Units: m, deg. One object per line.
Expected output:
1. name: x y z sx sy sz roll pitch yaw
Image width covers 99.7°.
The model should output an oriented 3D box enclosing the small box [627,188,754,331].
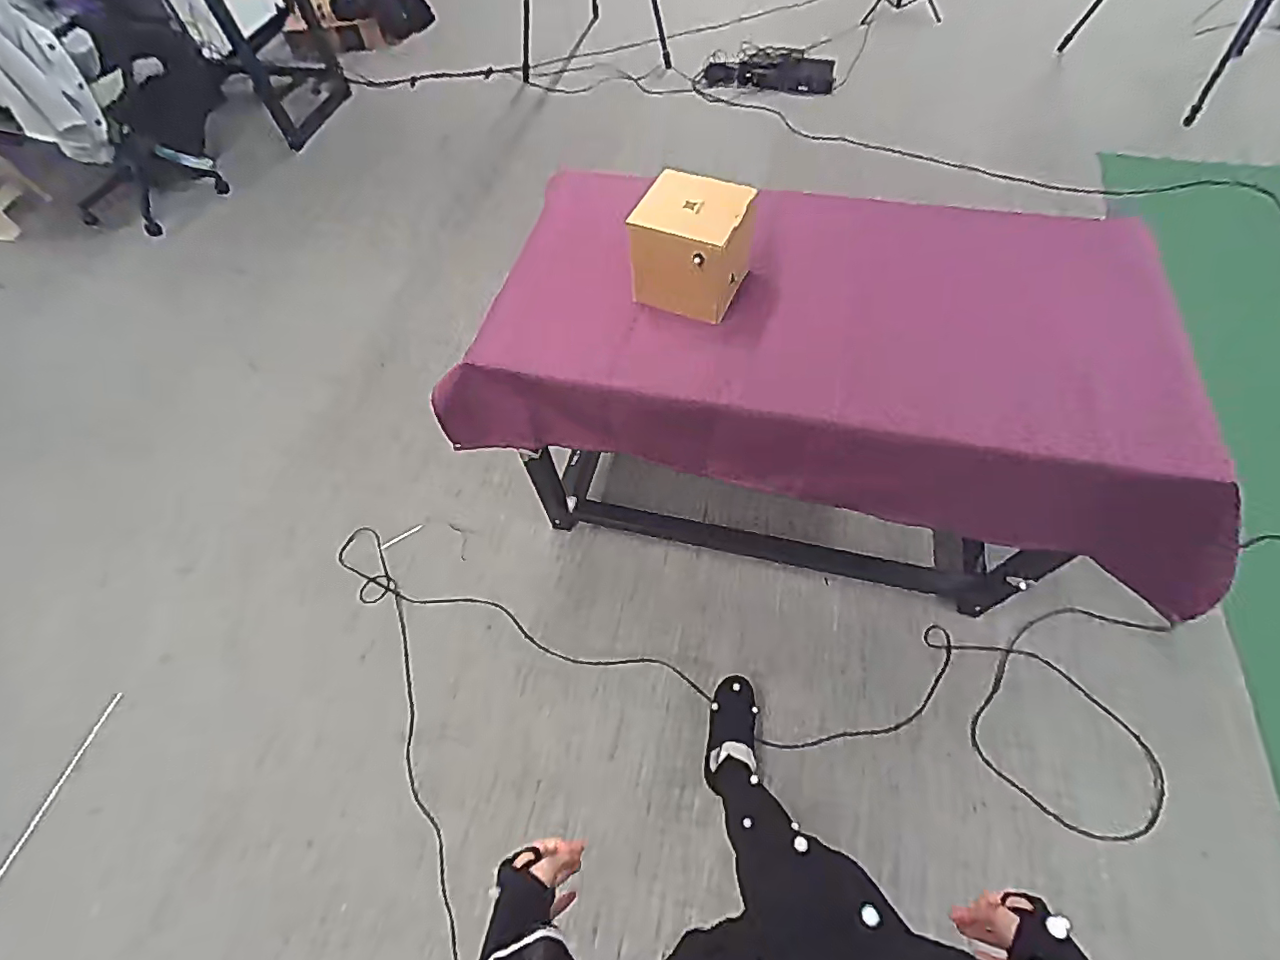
1. small box: 0.092 -0.402 0.998 0.179 0.176 0.168 20 62 15
